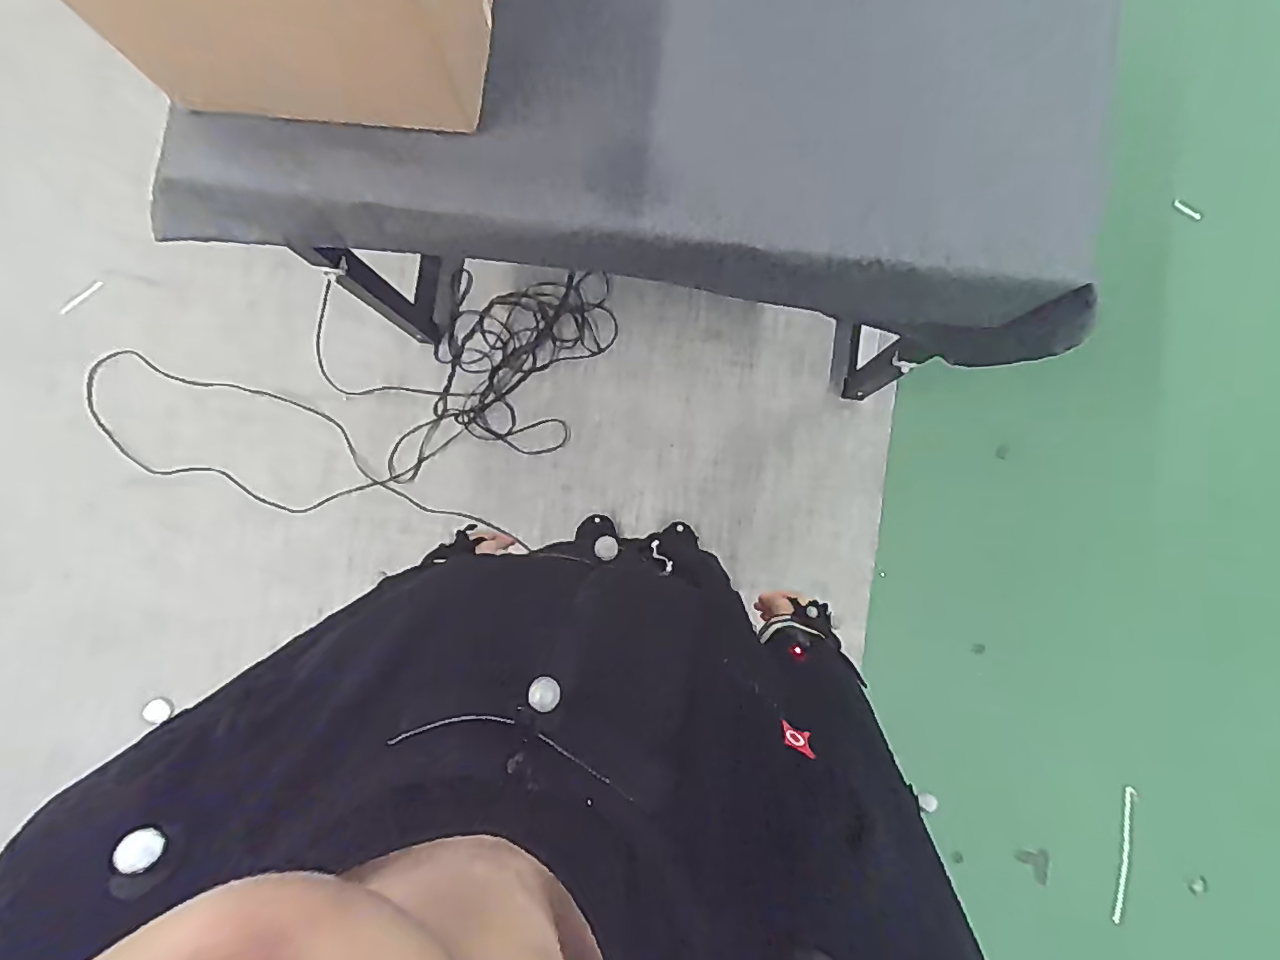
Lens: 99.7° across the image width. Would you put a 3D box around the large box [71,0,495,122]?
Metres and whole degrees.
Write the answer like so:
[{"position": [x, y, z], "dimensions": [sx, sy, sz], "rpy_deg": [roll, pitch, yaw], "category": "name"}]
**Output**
[{"position": [-0.392, -0.637, 0.570], "dimensions": [0.408, 0.320, 0.320], "rpy_deg": [5, 86, 1], "category": "large box"}]
